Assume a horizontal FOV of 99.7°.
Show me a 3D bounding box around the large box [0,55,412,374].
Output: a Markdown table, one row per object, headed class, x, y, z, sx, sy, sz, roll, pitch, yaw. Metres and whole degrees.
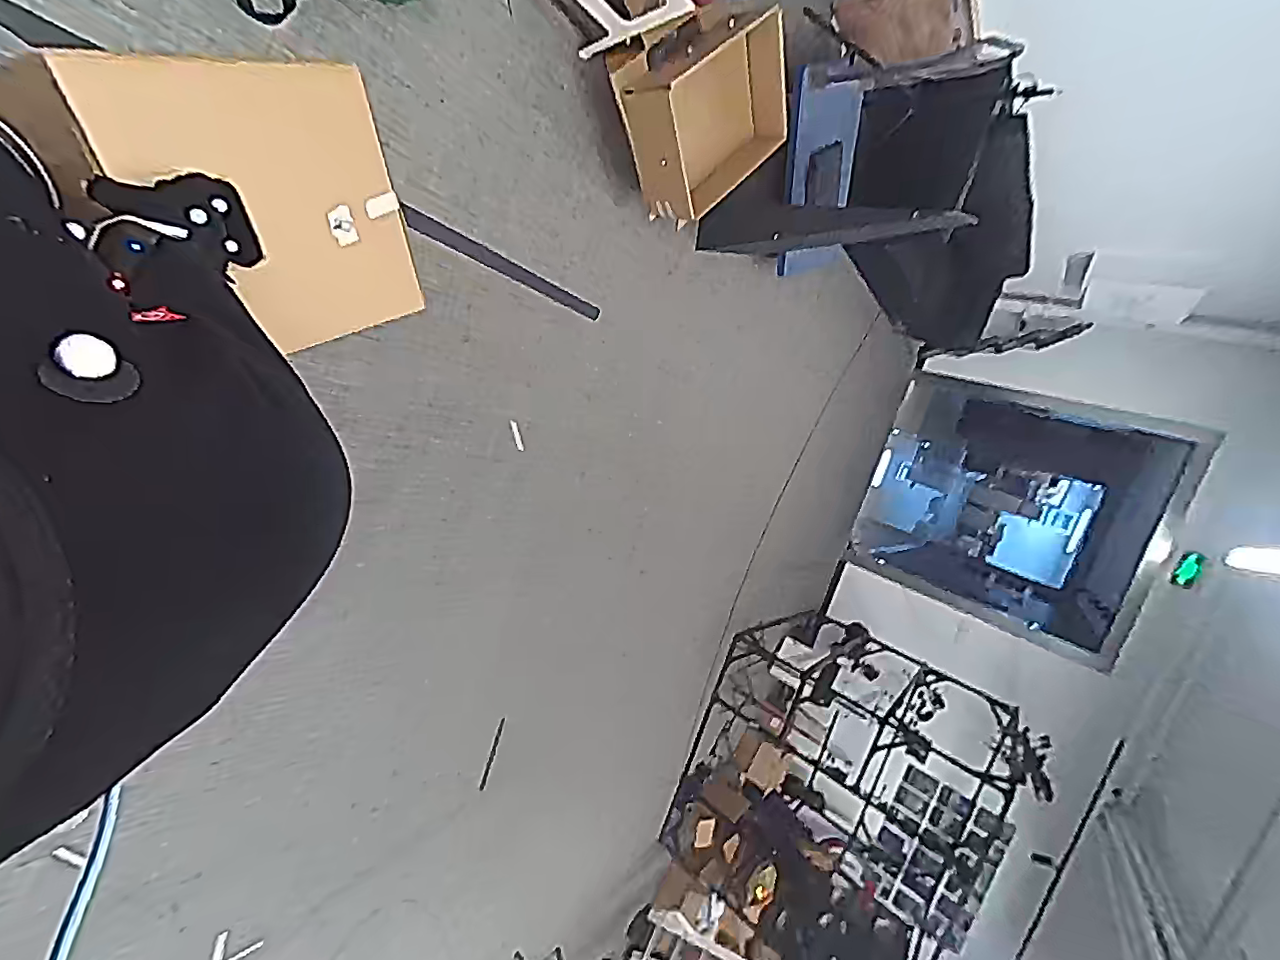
| class | x | y | z | sx | sy | sz | roll | pitch | yaw |
| --- | --- | --- | --- | --- | --- | --- | --- | --- | --- |
| large box | -0.605 | -0.373 | 0.768 | 0.320 | 0.408 | 0.320 | -38 | 136 | -44 |
